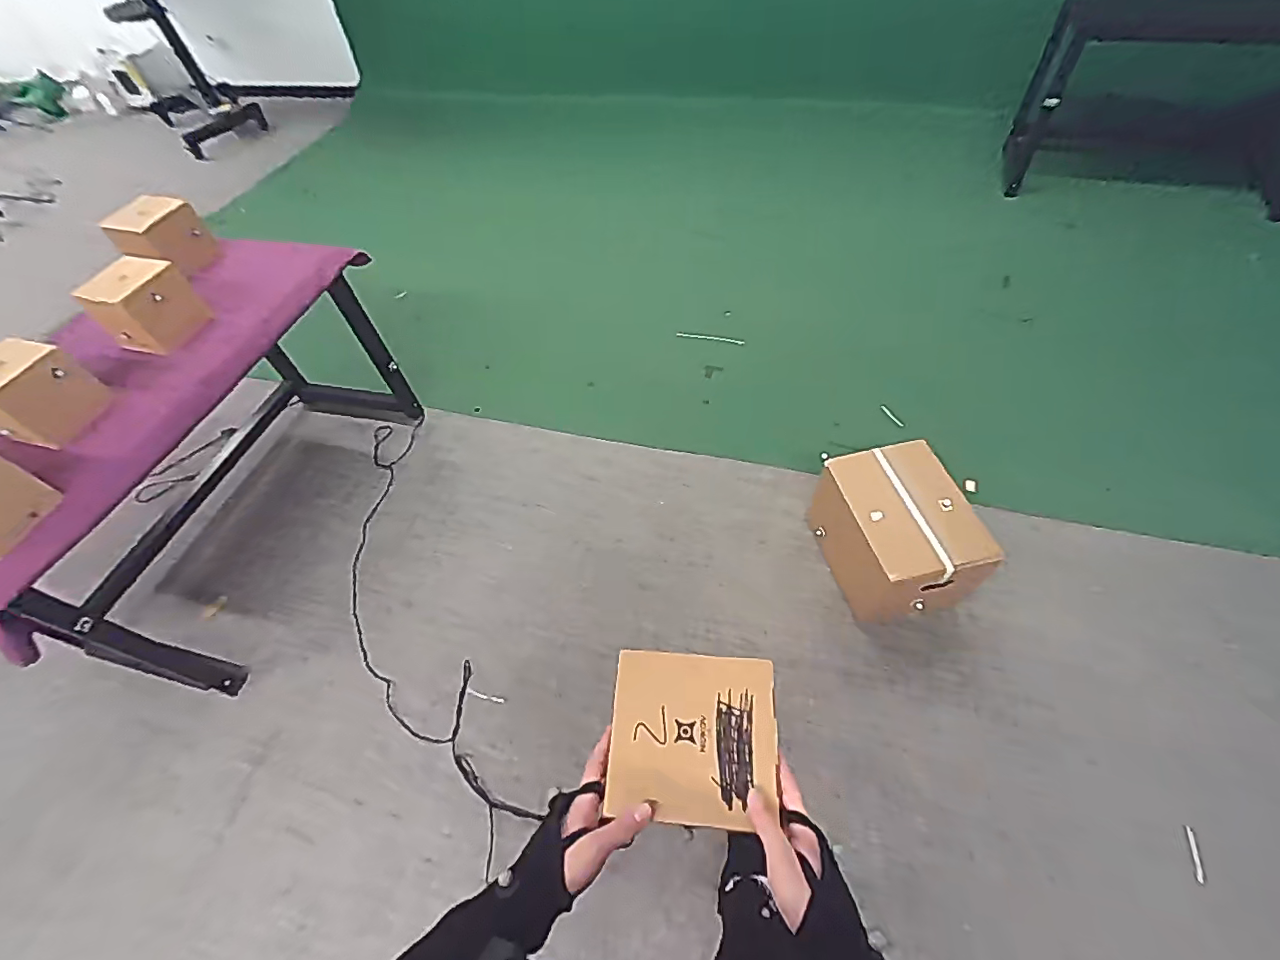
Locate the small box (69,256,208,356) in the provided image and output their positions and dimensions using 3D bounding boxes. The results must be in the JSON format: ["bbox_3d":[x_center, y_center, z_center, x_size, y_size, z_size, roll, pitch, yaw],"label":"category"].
[{"bbox_3d":[-1.289,-0.453,1.411,0.168,0.176,0.179,11,57,13],"label":"small box"}]

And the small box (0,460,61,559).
[{"bbox_3d":[-1.325,0.044,1.052,0.179,0.176,0.168,8,56,13],"label":"small box"}]

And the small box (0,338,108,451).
[{"bbox_3d":[-1.386,-0.194,1.231,0.168,0.176,0.179,11,56,14],"label":"small box"}]

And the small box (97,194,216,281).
[{"bbox_3d":[-1.420,-0.717,1.610,0.168,0.176,0.179,13,58,13],"label":"small box"}]
